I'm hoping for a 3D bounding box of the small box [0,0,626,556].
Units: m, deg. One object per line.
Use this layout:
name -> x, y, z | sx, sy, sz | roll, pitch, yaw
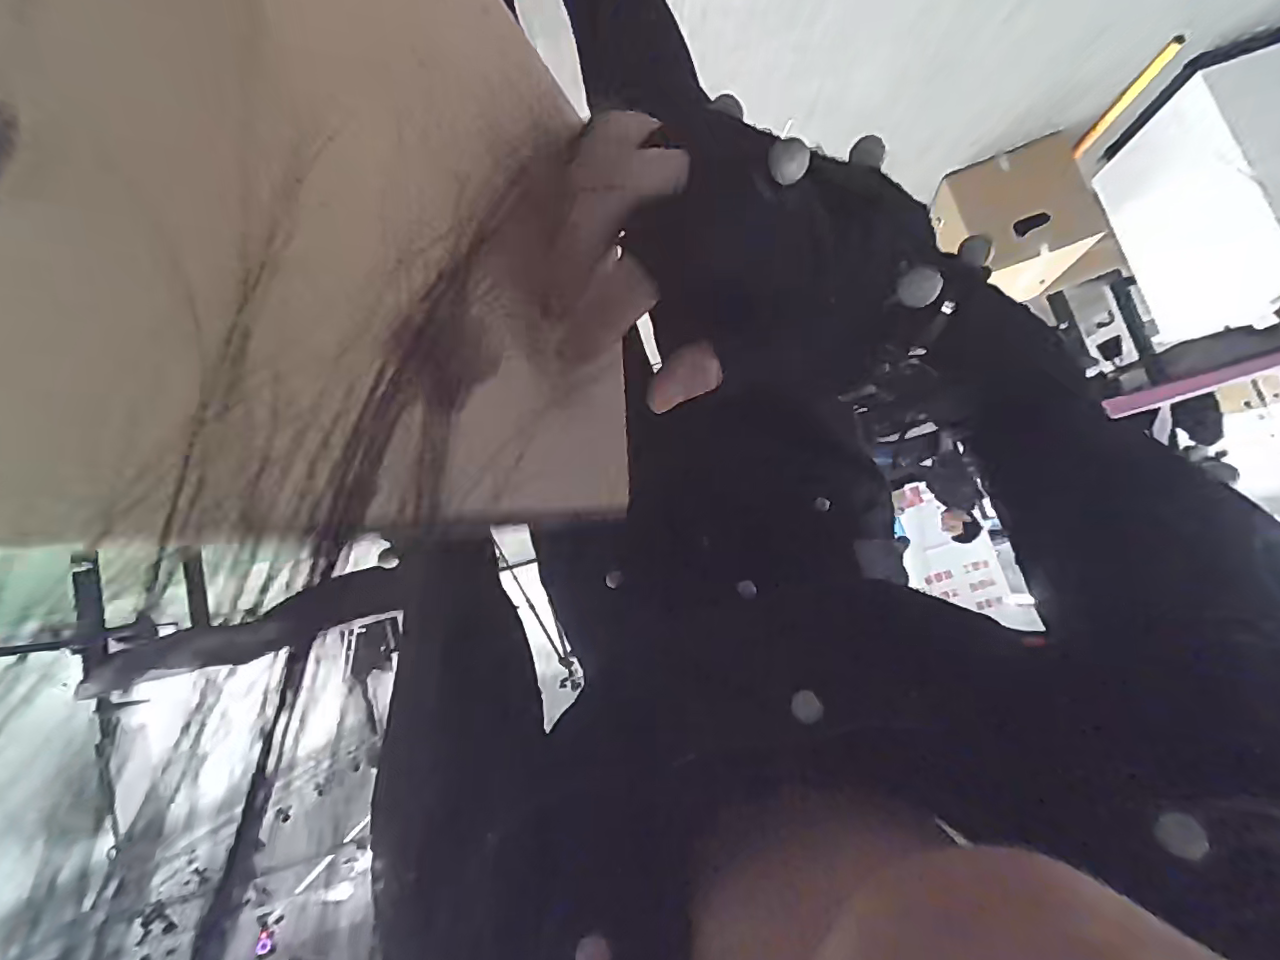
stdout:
small box -> -0.113, -0.064, 0.193 | 0.168, 0.176, 0.179 | -2, 177, 20
